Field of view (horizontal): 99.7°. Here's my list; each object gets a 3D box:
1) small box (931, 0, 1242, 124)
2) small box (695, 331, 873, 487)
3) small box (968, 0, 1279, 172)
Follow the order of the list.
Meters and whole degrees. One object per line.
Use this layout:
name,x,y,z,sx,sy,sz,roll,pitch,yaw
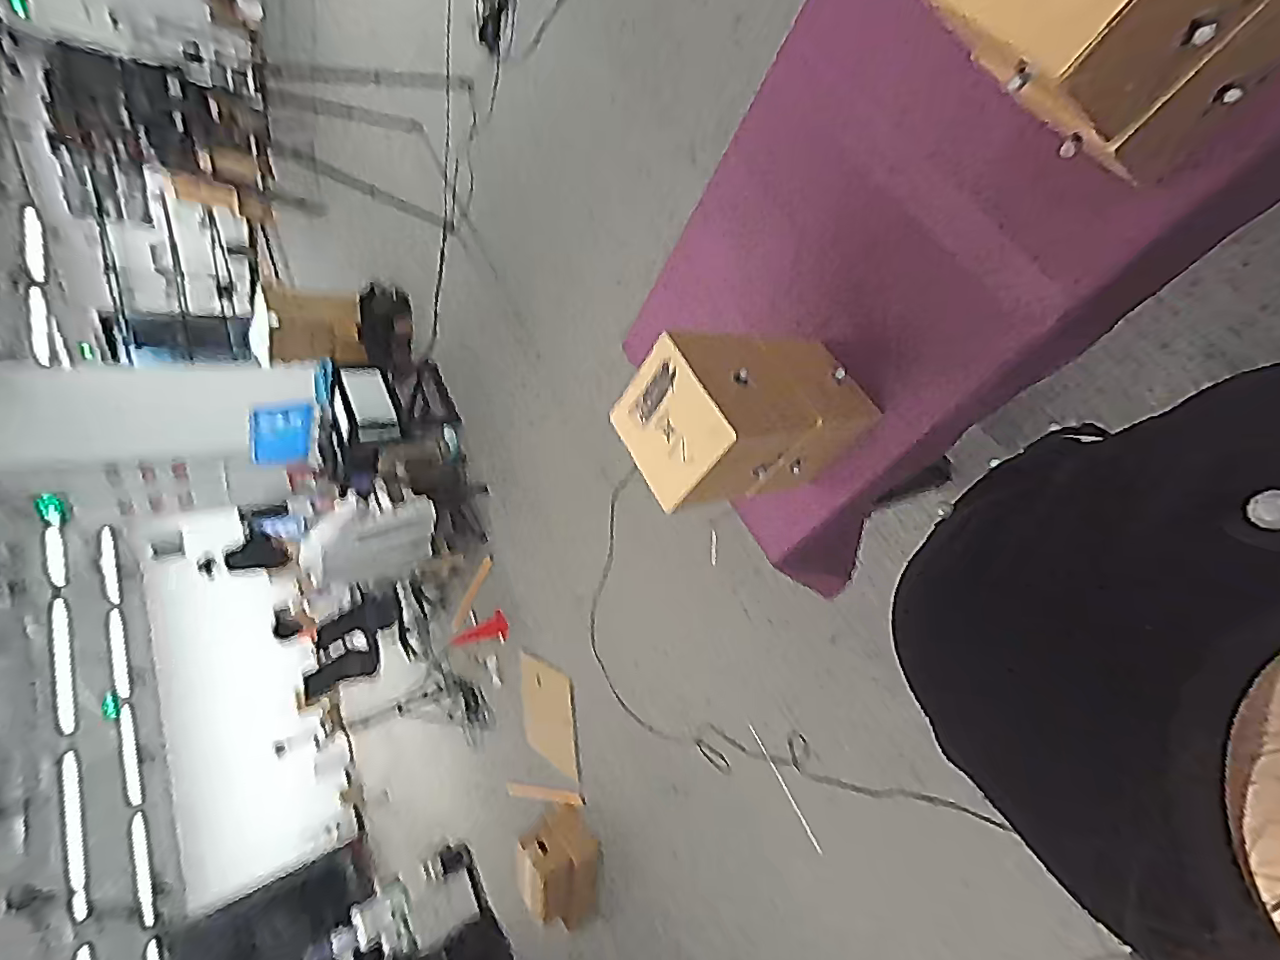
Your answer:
small box,0.337,-0.403,0.397,0.179,0.176,0.168,59,136,21
small box,0.226,-0.112,0.855,0.168,0.176,0.179,59,136,23
small box,0.462,-0.418,0.502,0.179,0.176,0.168,60,136,22
